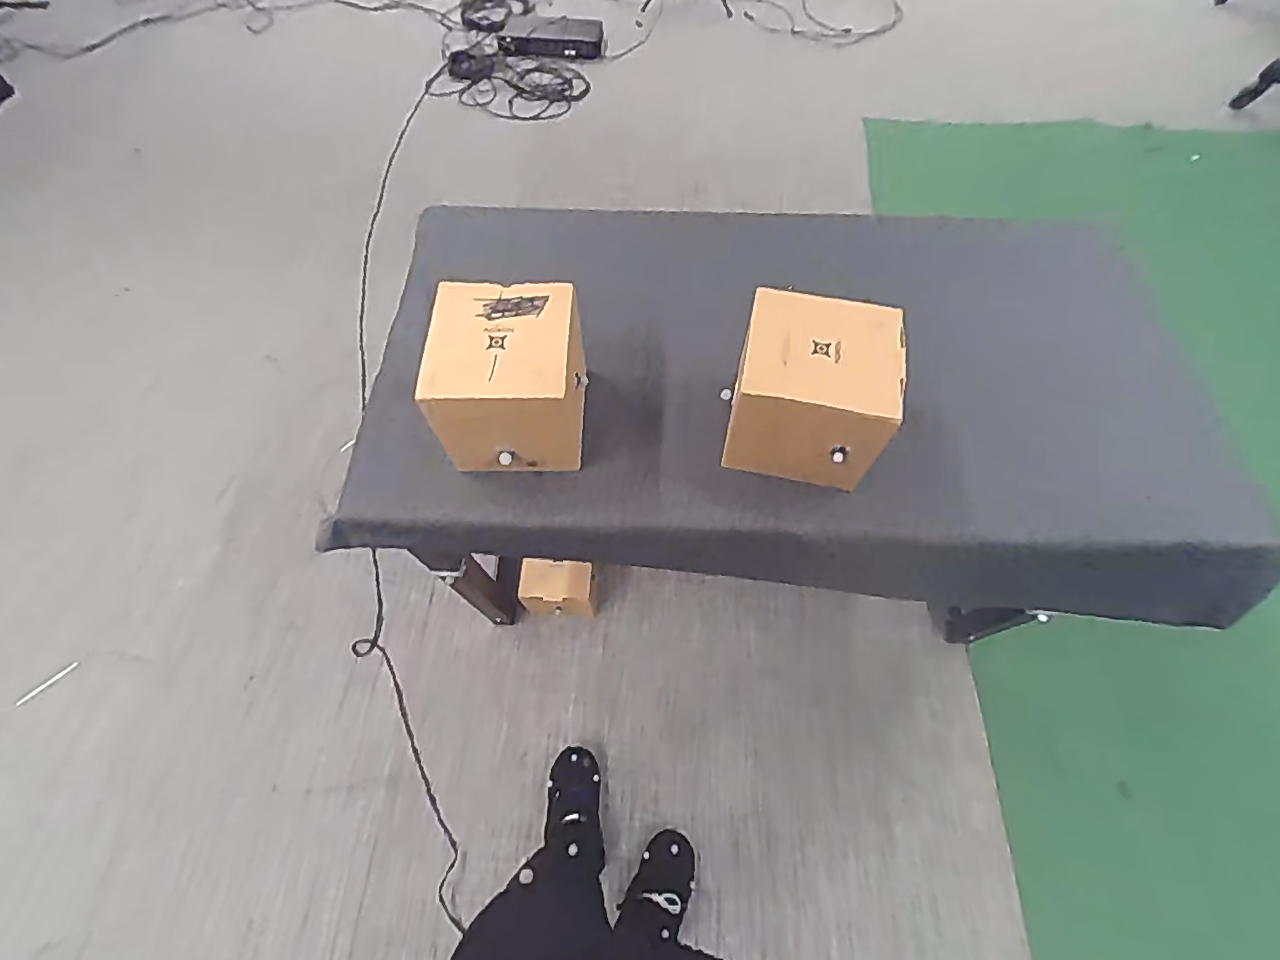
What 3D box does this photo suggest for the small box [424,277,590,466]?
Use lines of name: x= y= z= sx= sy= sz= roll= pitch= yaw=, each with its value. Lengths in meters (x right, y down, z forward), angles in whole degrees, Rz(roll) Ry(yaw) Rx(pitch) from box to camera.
small box: x=-0.154 y=-0.135 z=0.696 sx=0.168 sy=0.176 sz=0.179 roll=-1 pitch=63 yaw=0

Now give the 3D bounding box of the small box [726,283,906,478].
small box: x=0.215 y=-0.119 z=0.689 sx=0.179 sy=0.176 sz=0.168 roll=10 pitch=62 yaw=7
